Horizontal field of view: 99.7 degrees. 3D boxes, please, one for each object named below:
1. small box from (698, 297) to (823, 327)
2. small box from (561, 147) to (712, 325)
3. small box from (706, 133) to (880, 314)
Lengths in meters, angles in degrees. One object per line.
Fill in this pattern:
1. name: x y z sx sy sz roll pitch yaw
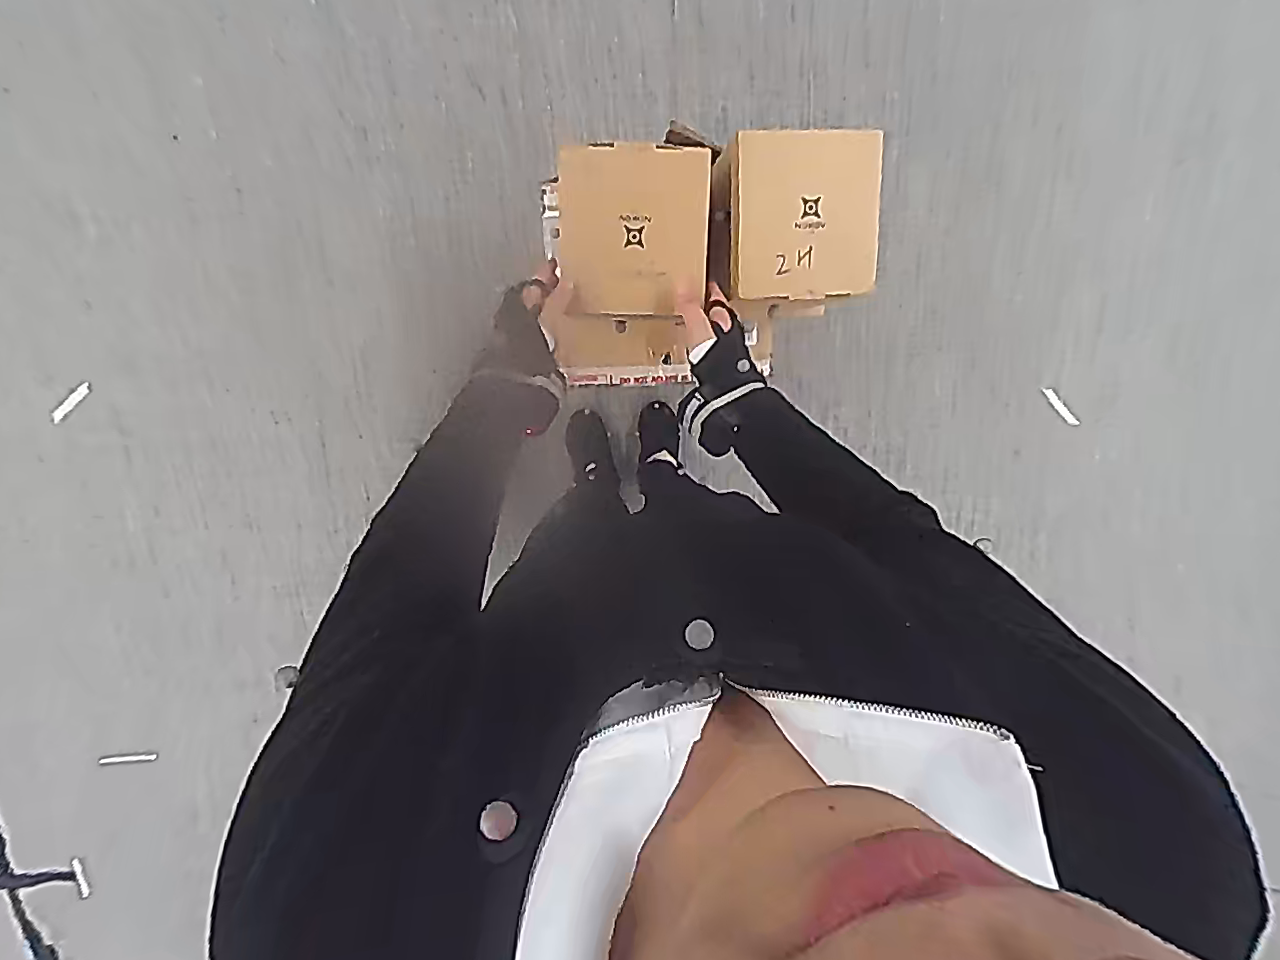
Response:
1. small box: 0.179 -0.336 0.848 0.168 0.176 0.179 -2 104 -6
2. small box: -0.009 -0.288 0.673 0.168 0.176 0.179 0 105 -2
3. small box: 0.179 -0.310 0.684 0.168 0.176 0.179 -4 104 -5
